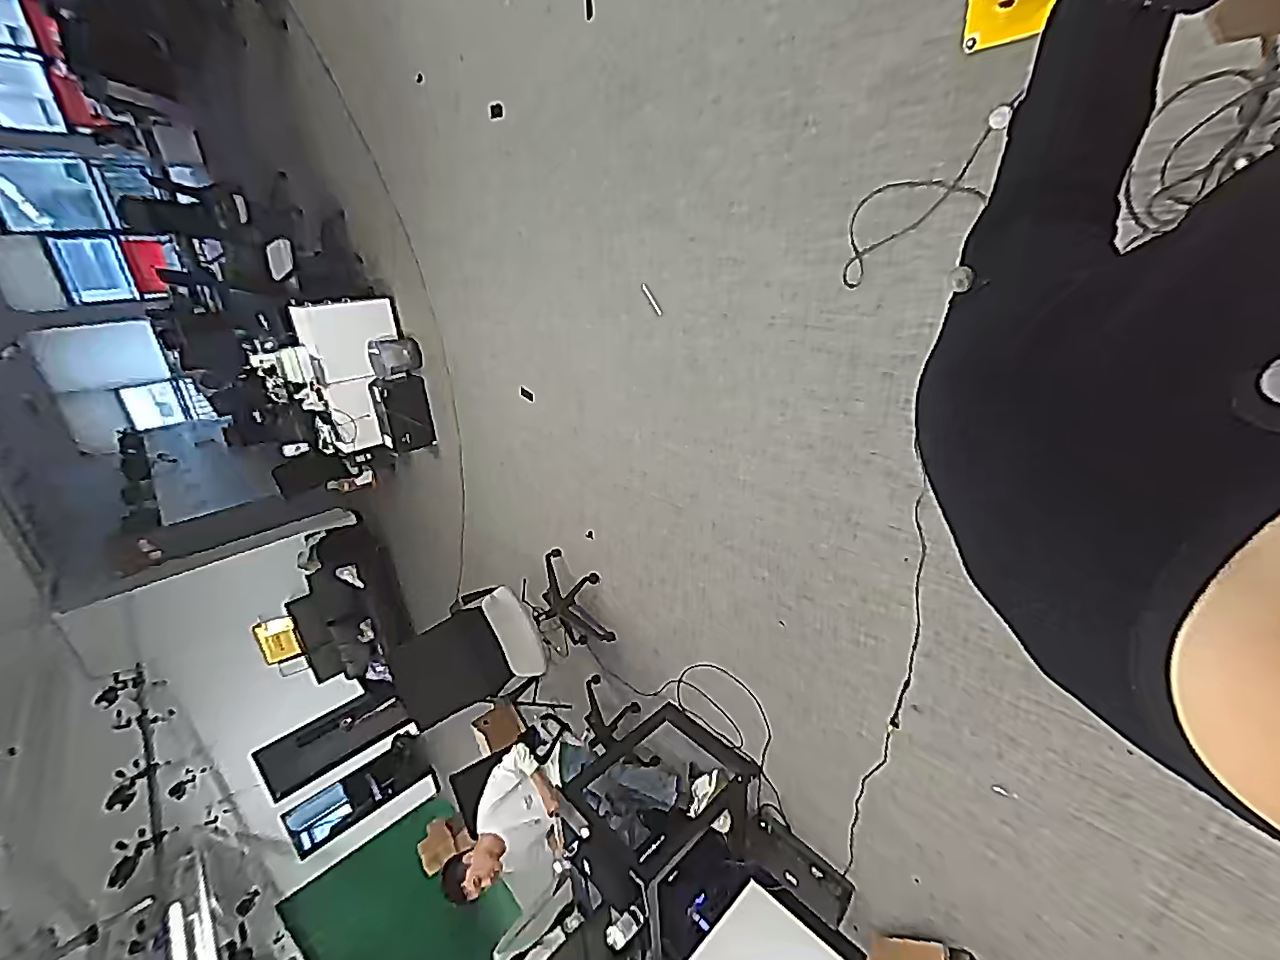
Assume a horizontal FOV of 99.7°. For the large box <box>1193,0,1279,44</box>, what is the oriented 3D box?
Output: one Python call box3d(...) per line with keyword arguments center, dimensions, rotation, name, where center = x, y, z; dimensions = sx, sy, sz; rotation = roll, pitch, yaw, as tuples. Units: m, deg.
box3d(center=(0.572, -0.468, 0.243), dimensions=(0.408, 0.320, 0.320), rotation=(21, 123, 42), name="large box")
